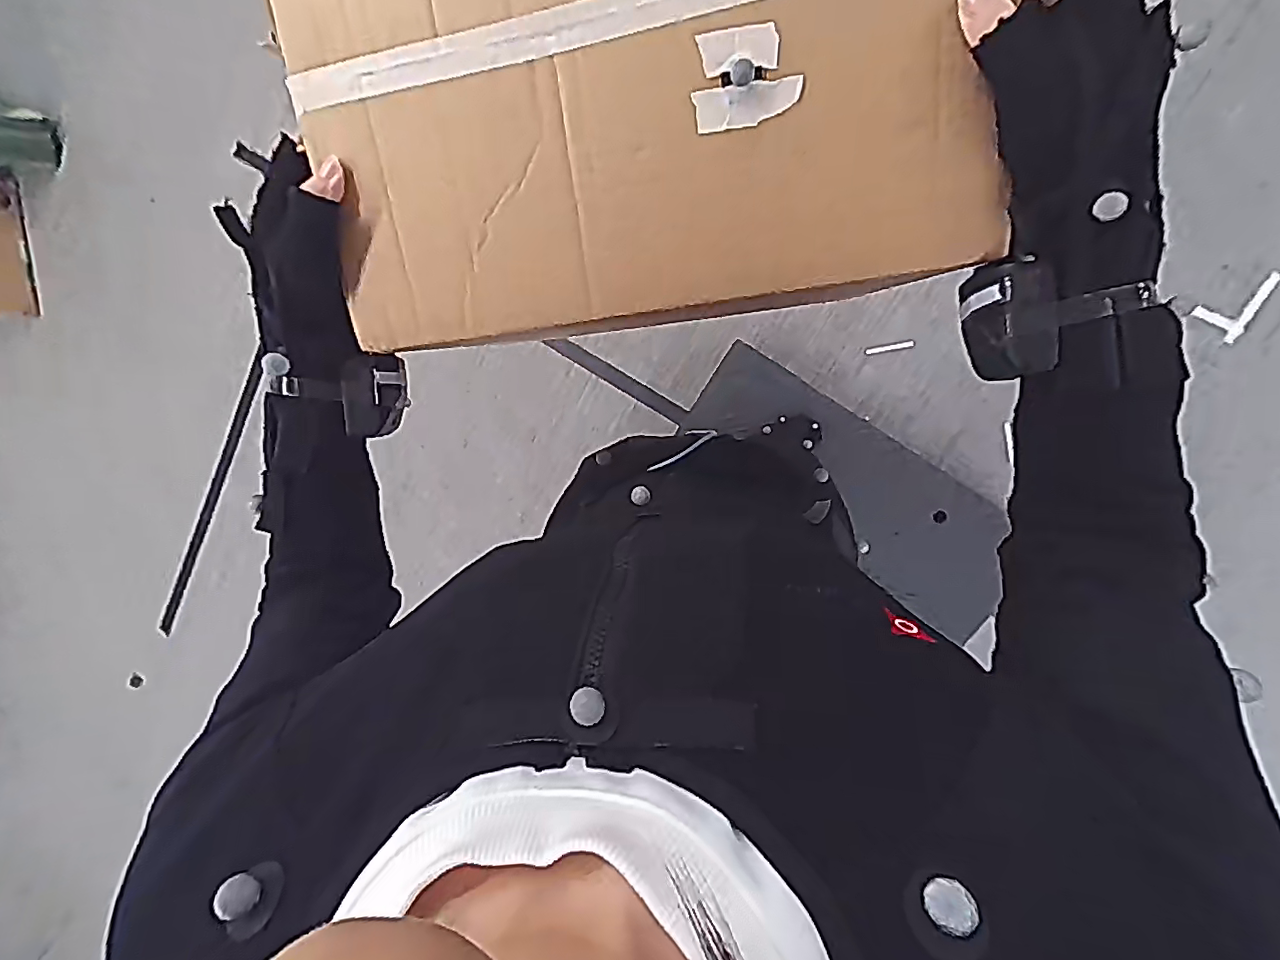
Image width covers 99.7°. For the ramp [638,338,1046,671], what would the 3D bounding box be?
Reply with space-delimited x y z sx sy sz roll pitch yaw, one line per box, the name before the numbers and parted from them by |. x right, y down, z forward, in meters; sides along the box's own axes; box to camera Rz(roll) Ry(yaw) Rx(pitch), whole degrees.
ramp | 0.537 0.089 1.448 0.991 0.206 0.509 32 102 6

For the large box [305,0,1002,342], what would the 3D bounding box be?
large box | 0.013 -0.303 0.454 0.408 0.320 0.320 -5 105 9
